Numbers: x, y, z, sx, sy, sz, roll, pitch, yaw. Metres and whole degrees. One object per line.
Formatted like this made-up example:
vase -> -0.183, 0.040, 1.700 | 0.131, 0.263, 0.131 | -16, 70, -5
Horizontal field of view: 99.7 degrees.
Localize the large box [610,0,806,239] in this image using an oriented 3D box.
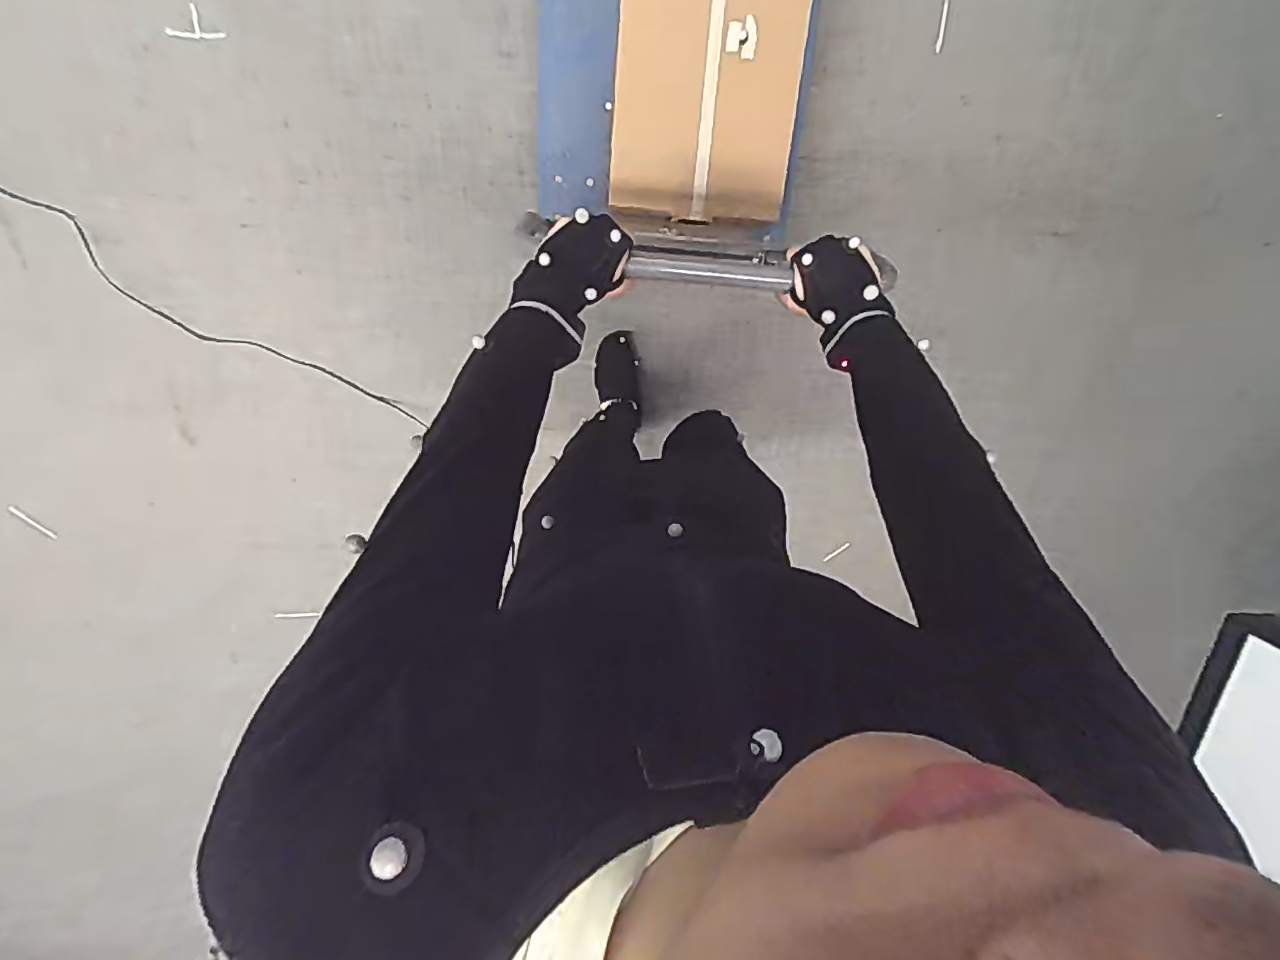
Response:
large box -> 0.105, -0.713, 1.057 | 0.320, 0.320, 0.408 | 3, 107, -5
